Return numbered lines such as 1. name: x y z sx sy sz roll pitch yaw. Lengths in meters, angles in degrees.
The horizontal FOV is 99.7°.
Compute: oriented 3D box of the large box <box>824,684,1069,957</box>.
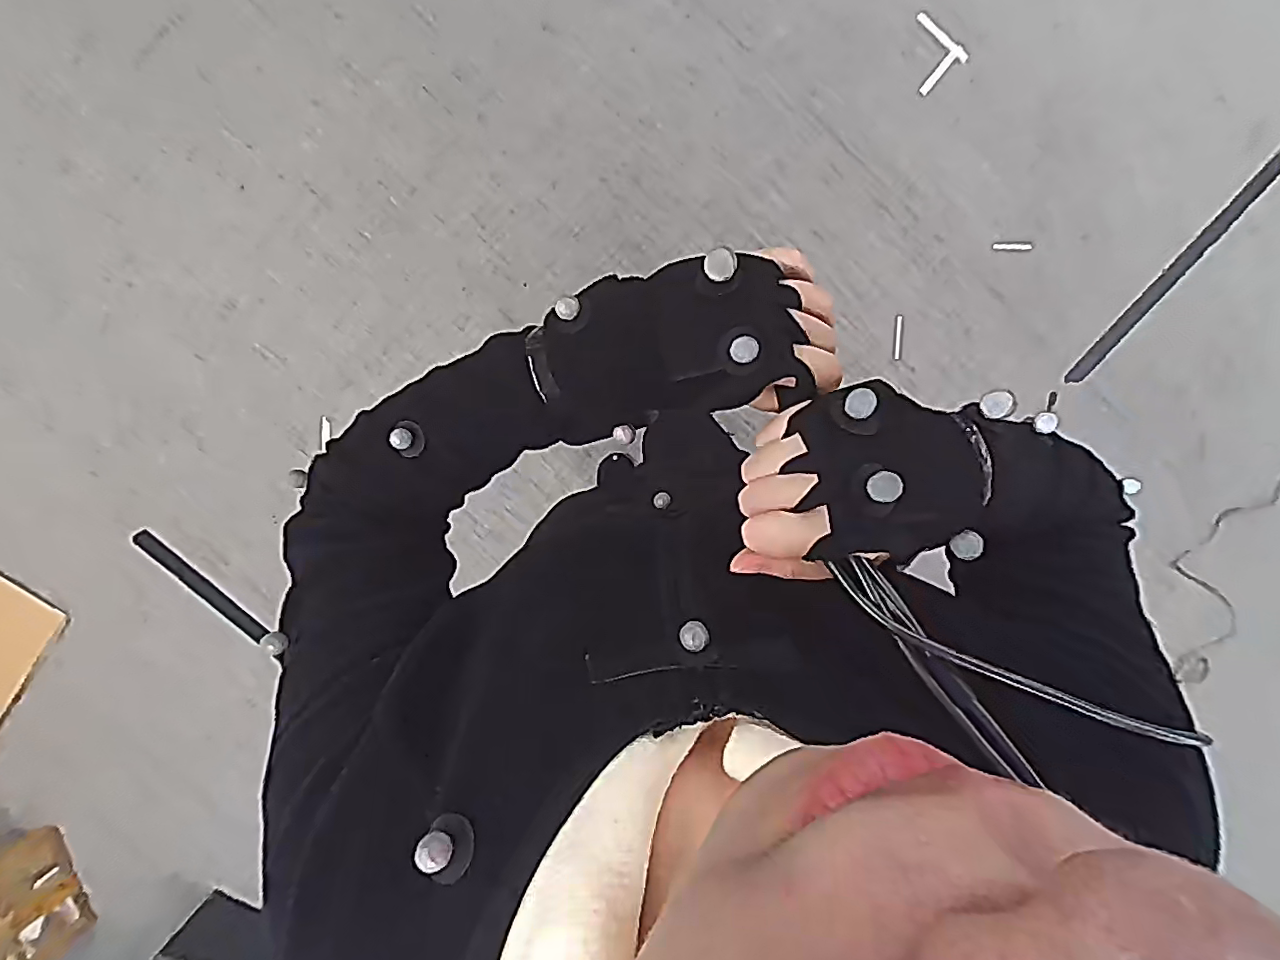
1. large box: 0.665 0.741 1.234 0.320 0.320 0.408 14 94 -2
